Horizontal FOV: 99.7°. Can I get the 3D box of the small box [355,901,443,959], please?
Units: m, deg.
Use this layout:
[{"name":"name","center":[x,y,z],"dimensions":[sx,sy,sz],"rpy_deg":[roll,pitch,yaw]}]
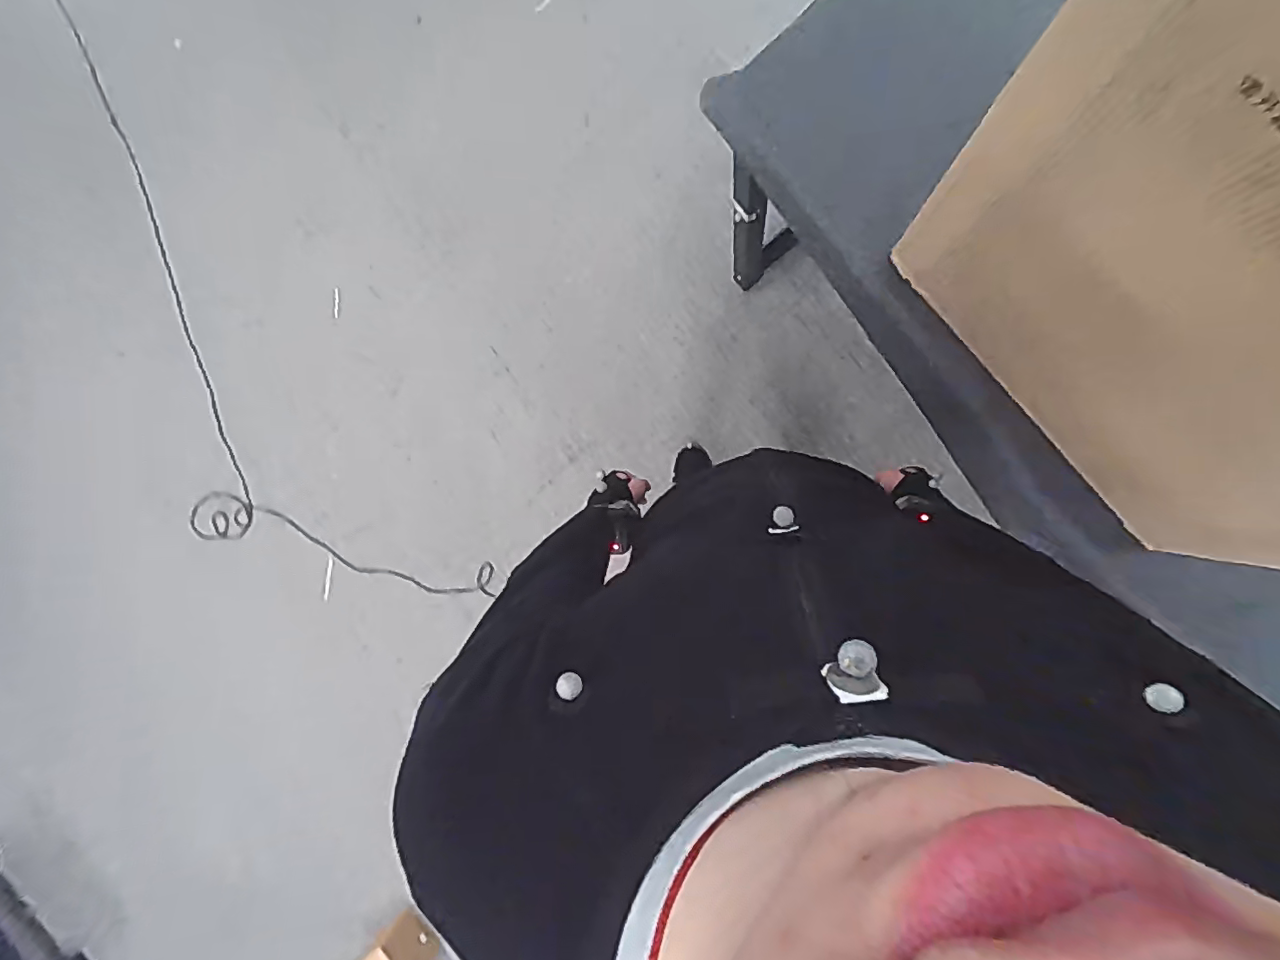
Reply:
[{"name":"small box","center":[-0.738,1.446,1.635],"dimensions":[0.179,0.176,0.168],"rpy_deg":[-43,85,6]}]
